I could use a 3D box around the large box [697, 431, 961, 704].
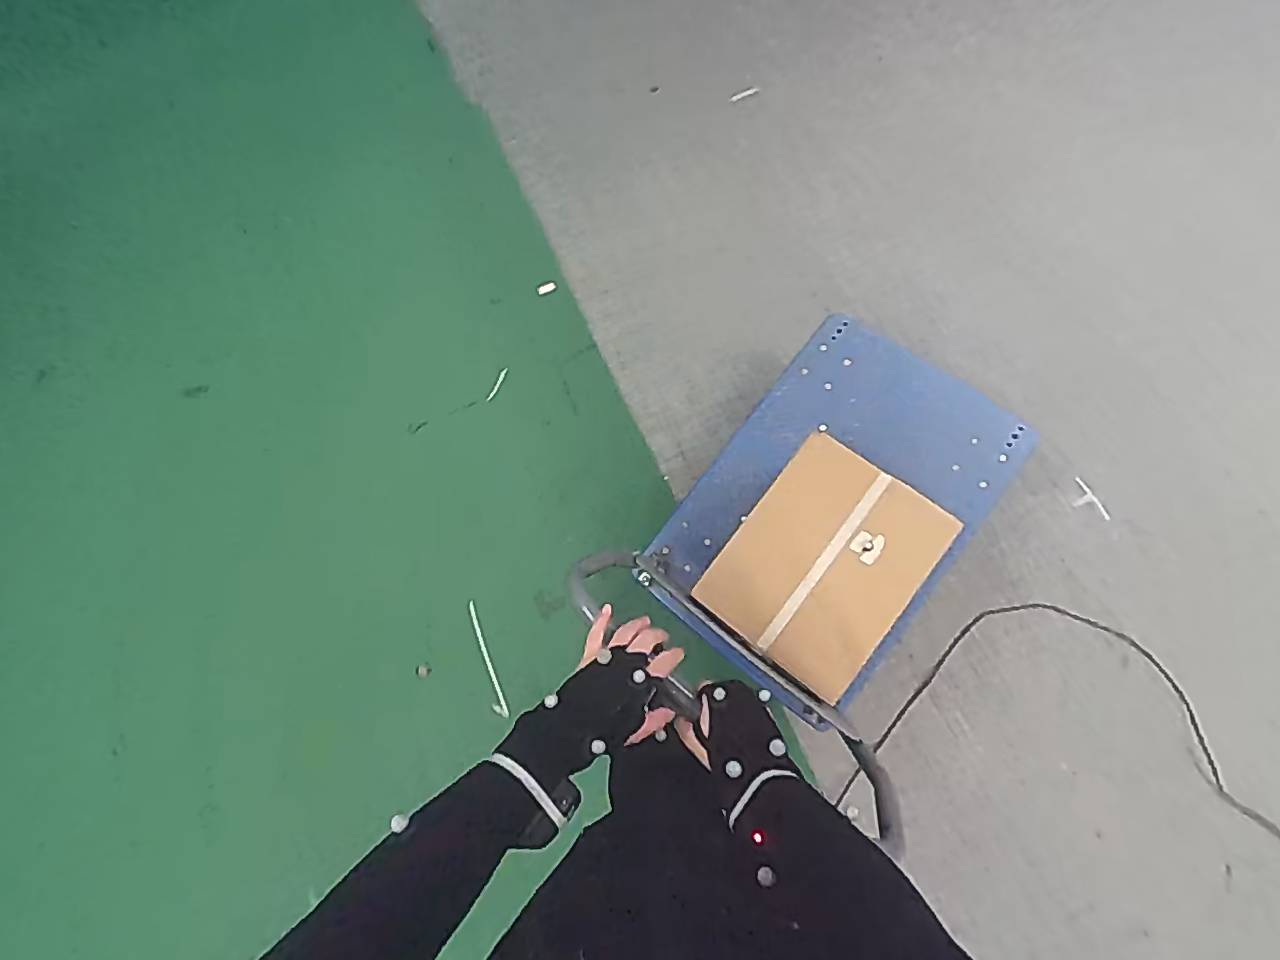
[{"bbox_3d":[0.359,0.182,1.122,0.320,0.320,0.408,37,84,14],"label":"large box"}]
